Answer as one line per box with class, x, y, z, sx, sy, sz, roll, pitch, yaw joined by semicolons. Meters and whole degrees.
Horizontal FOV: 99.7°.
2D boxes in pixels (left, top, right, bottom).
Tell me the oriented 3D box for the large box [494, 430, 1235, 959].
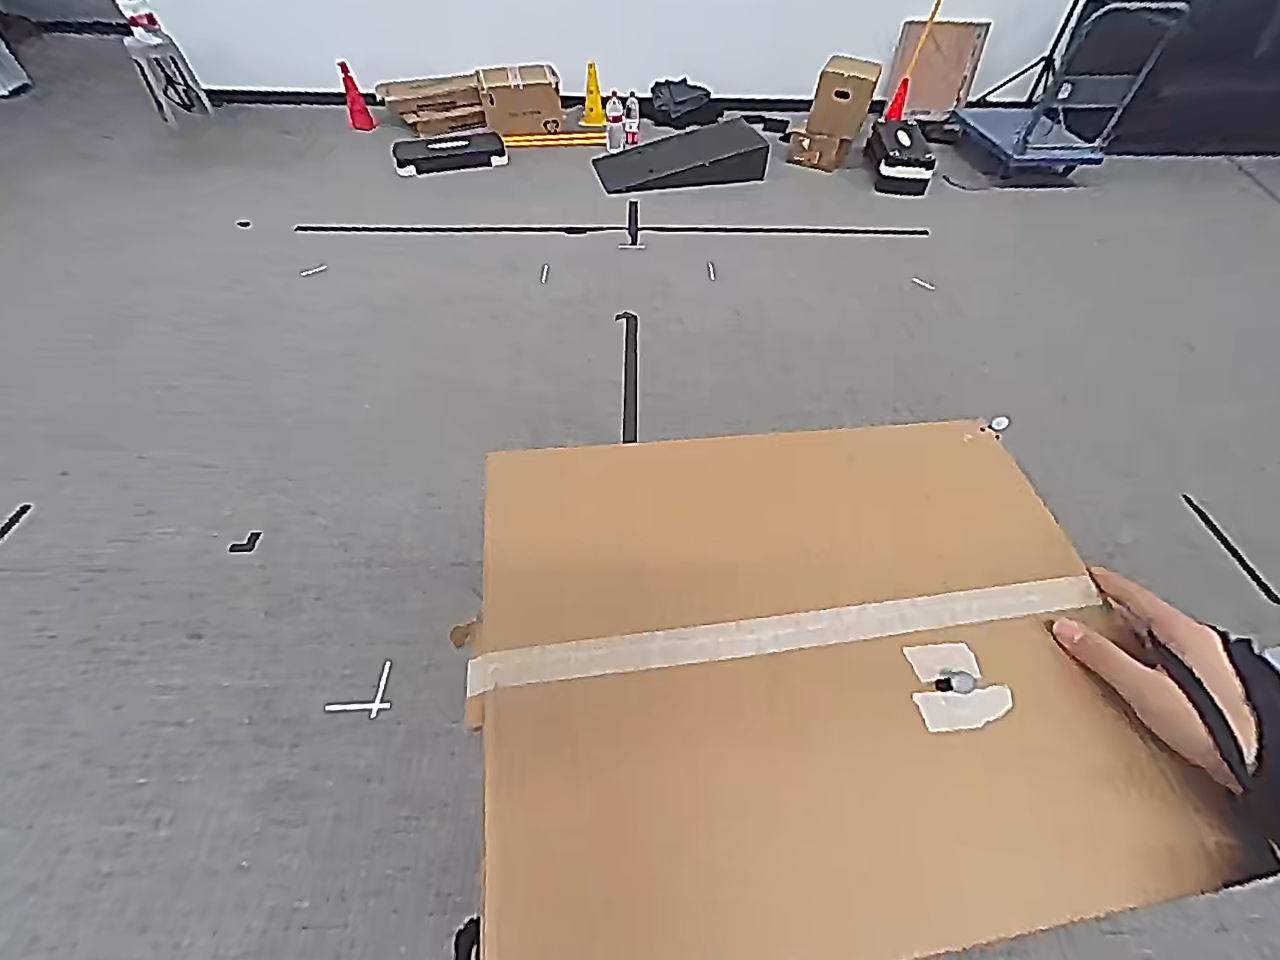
large box;0.097;0.183;0.466;0.408;0.320;0.320;-4;56;-10
